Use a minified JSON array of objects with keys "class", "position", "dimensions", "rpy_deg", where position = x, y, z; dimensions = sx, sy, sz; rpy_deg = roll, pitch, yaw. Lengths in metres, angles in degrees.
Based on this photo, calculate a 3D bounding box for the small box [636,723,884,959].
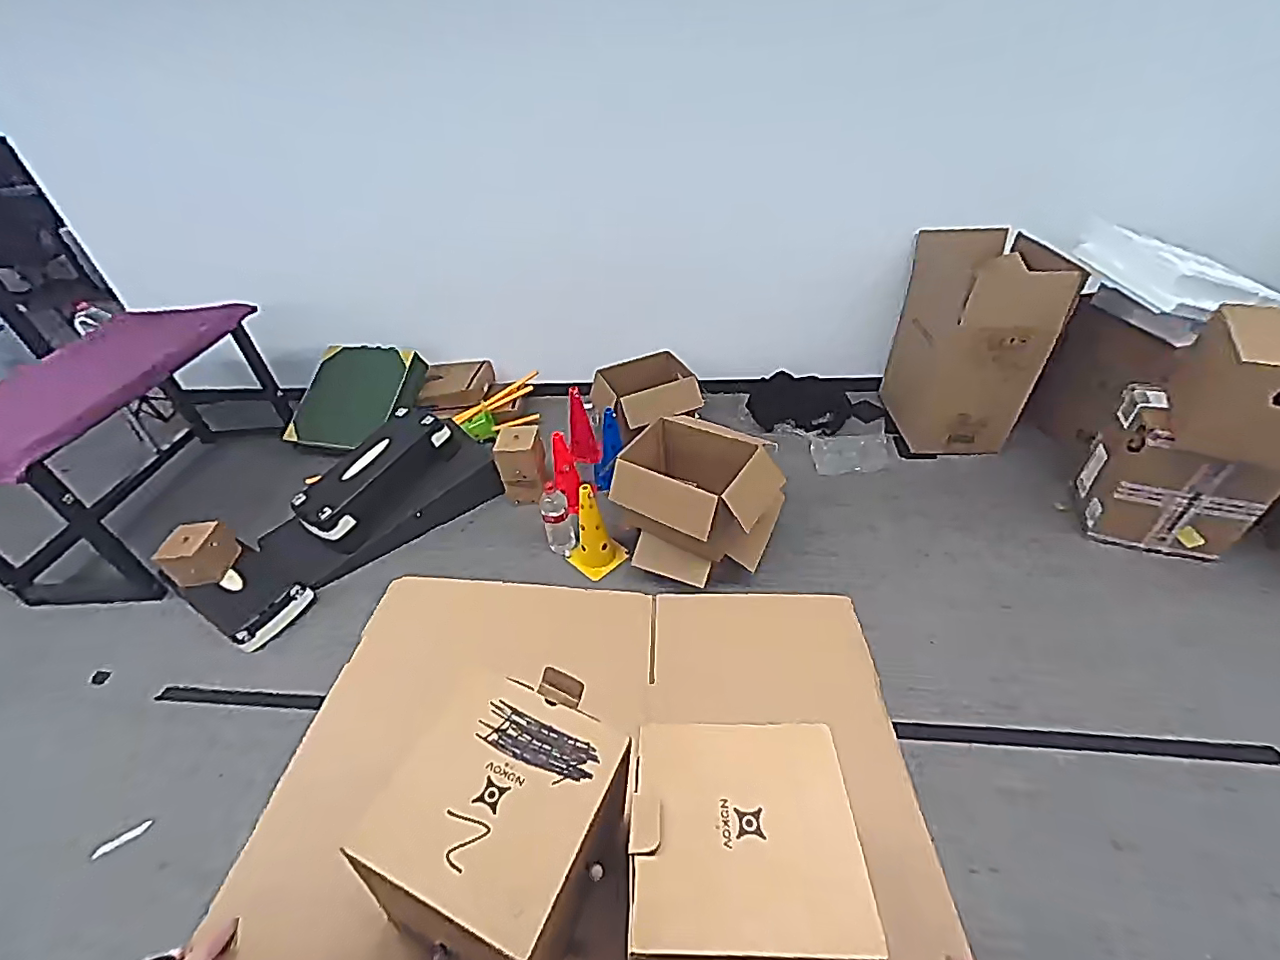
[{"class":"small box","position":[0.090,0.342,0.488],"dimensions":[0.179,0.176,0.168],"rpy_deg":[-2,36,4]}]
